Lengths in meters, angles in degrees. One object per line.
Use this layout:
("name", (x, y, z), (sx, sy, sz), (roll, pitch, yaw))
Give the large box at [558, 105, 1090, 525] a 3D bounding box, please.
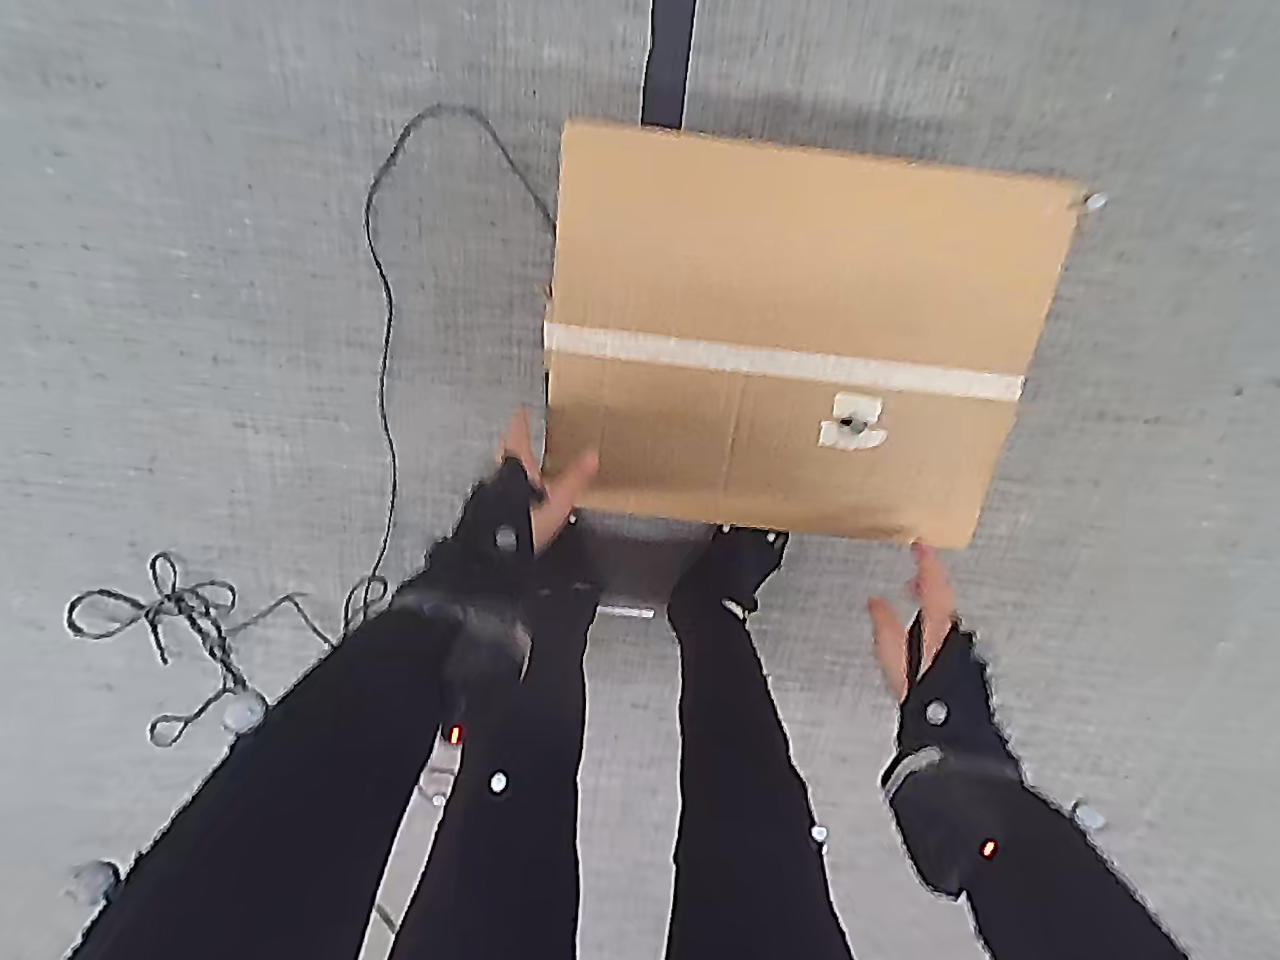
("large box", (0.133, -0.165, 0.595), (0.408, 0.320, 0.320), (6, 109, -2))
